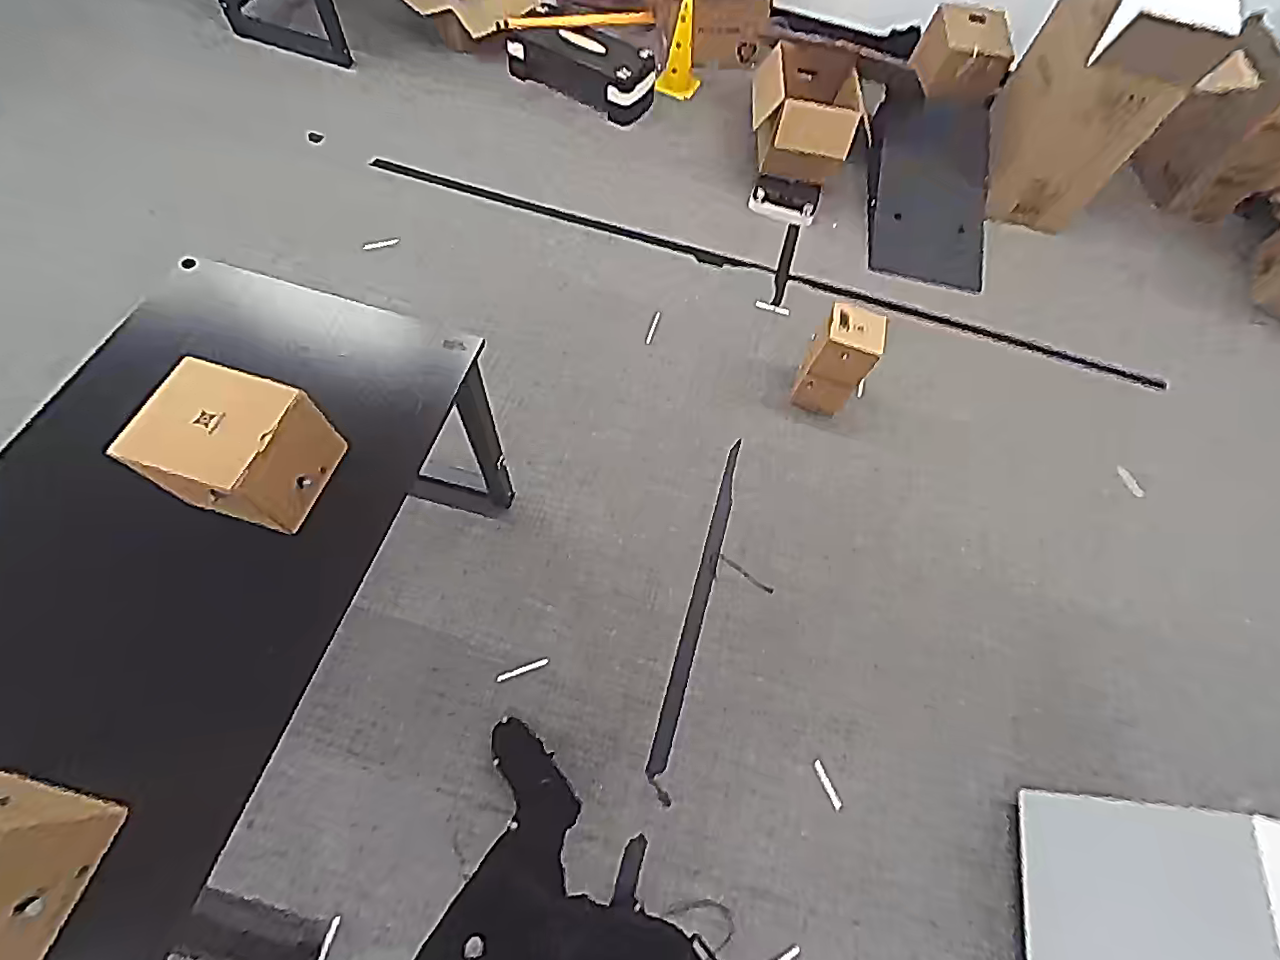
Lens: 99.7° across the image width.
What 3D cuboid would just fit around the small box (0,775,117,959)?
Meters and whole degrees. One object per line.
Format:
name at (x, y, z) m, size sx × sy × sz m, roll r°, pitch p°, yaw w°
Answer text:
small box at (-0.717, 0.414, 0.552) m, size 0.179 × 0.176 × 0.168 m, roll 15°, pitch 63°, yaw 1°

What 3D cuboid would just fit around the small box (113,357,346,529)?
small box at (-0.578, -0.045, 0.792) m, size 0.179 × 0.176 × 0.168 m, roll 17°, pitch 64°, yaw 1°

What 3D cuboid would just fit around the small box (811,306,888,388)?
small box at (0.672, -0.424, 1.745) m, size 0.179 × 0.176 × 0.168 m, roll 18°, pitch 63°, yaw 1°
